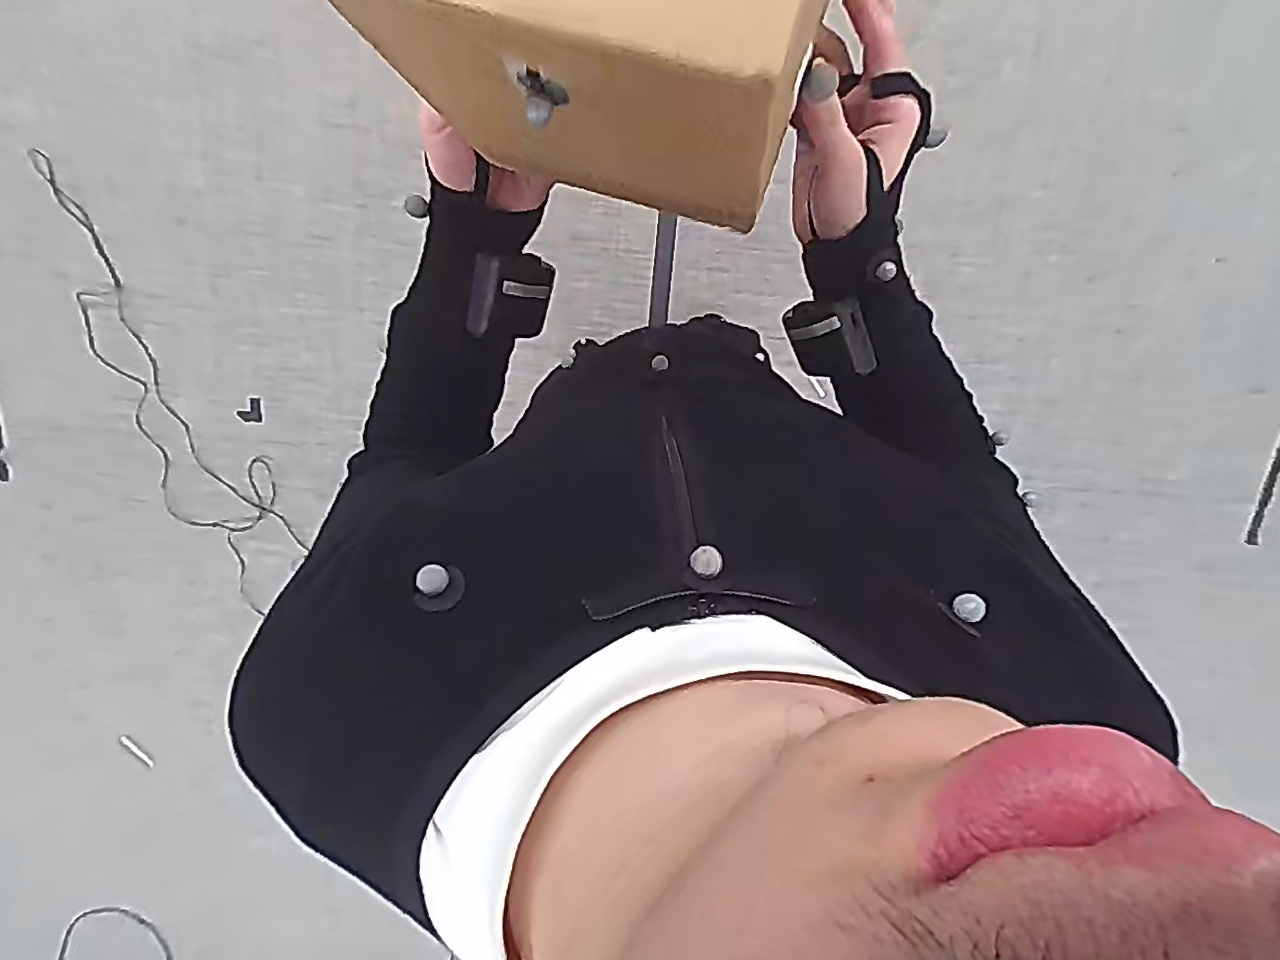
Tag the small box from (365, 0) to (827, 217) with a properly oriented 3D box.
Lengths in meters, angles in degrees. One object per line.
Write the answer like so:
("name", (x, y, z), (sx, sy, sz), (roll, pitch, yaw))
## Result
("small box", (-0.002, -0.245, 0.249), (0.179, 0.176, 0.168), (17, 101, 6))
